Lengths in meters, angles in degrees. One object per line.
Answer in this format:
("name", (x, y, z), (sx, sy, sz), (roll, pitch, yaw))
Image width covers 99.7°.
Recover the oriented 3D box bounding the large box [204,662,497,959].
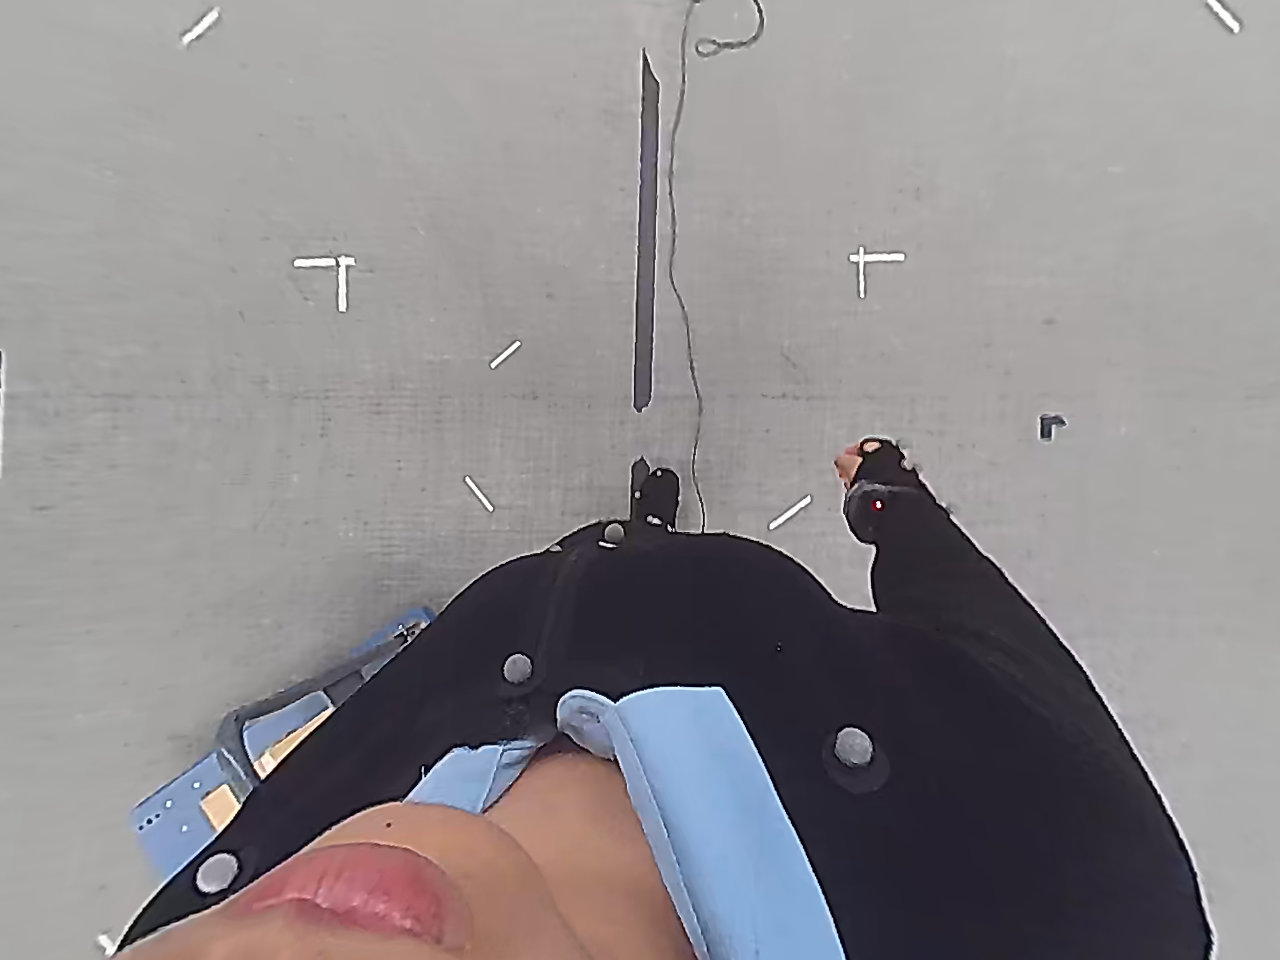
("large box", (-0.578, 0.677, 1.154), (0.320, 0.320, 0.408), (-35, 87, -2))
